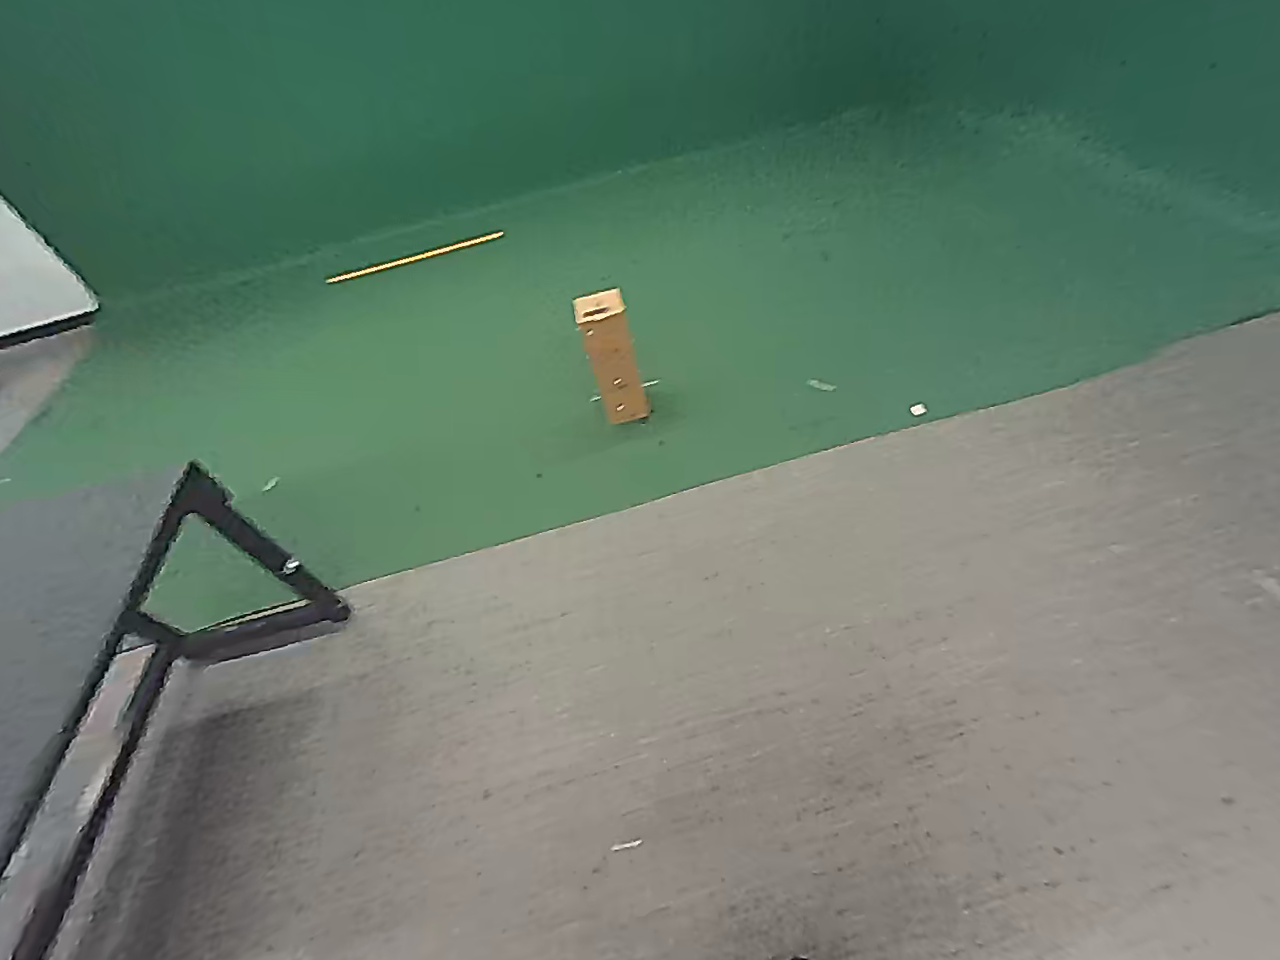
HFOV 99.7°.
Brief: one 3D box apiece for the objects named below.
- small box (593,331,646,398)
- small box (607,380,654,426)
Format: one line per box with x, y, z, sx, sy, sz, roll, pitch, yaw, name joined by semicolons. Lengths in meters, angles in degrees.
-0.082;-0.454;2.134;0.168;0.176;0.179;-15;47;3;small box
-0.046;-0.346;2.254;0.168;0.176;0.179;-17;46;1;small box
